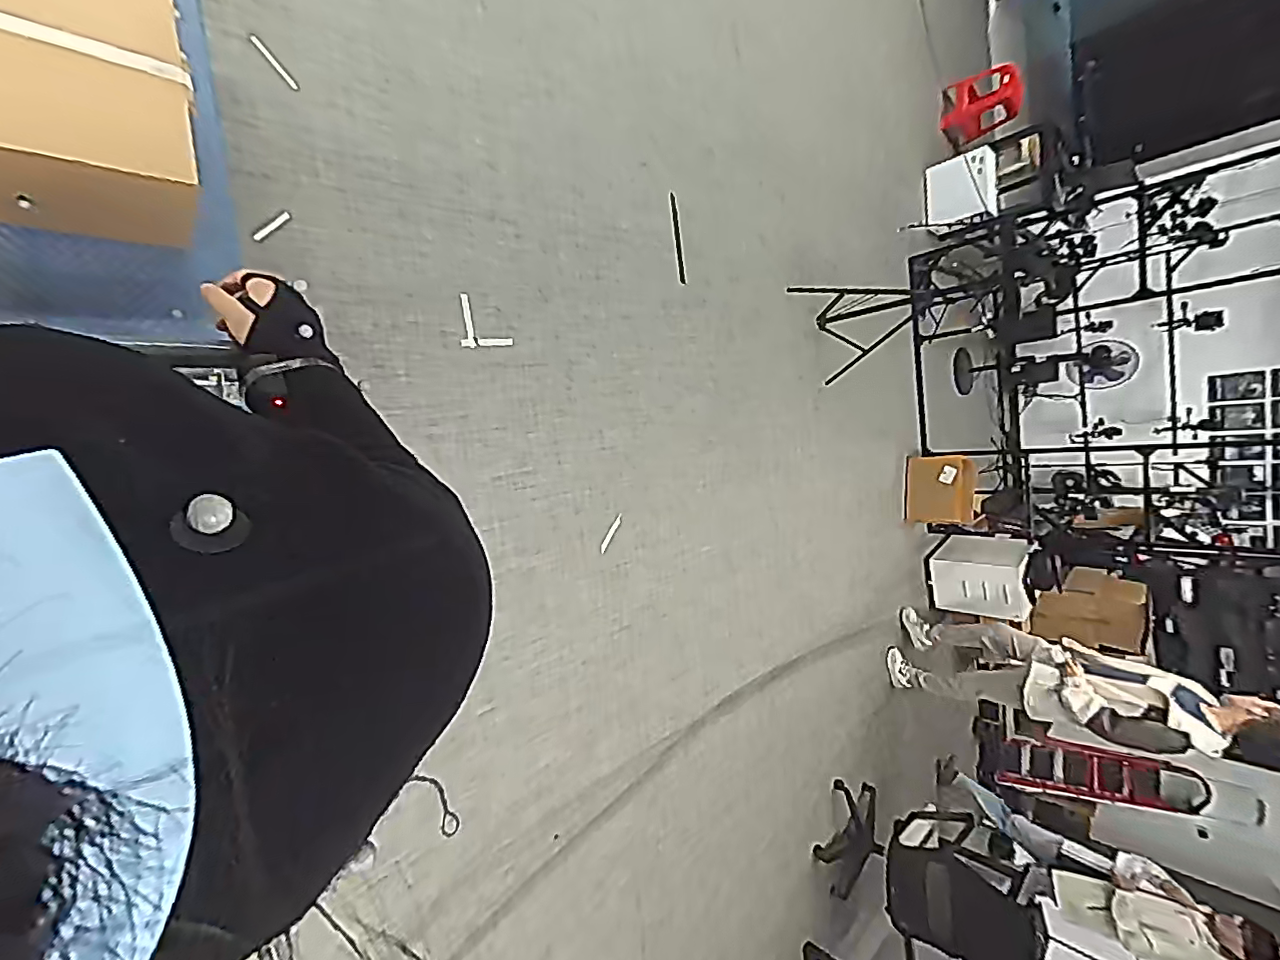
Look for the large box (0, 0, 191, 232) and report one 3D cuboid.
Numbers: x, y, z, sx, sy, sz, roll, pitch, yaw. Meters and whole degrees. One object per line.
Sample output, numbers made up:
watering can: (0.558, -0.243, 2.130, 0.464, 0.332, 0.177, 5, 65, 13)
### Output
large box: (-0.953, -0.601, 0.800, 0.408, 0.320, 0.320, -9, 95, -42)
